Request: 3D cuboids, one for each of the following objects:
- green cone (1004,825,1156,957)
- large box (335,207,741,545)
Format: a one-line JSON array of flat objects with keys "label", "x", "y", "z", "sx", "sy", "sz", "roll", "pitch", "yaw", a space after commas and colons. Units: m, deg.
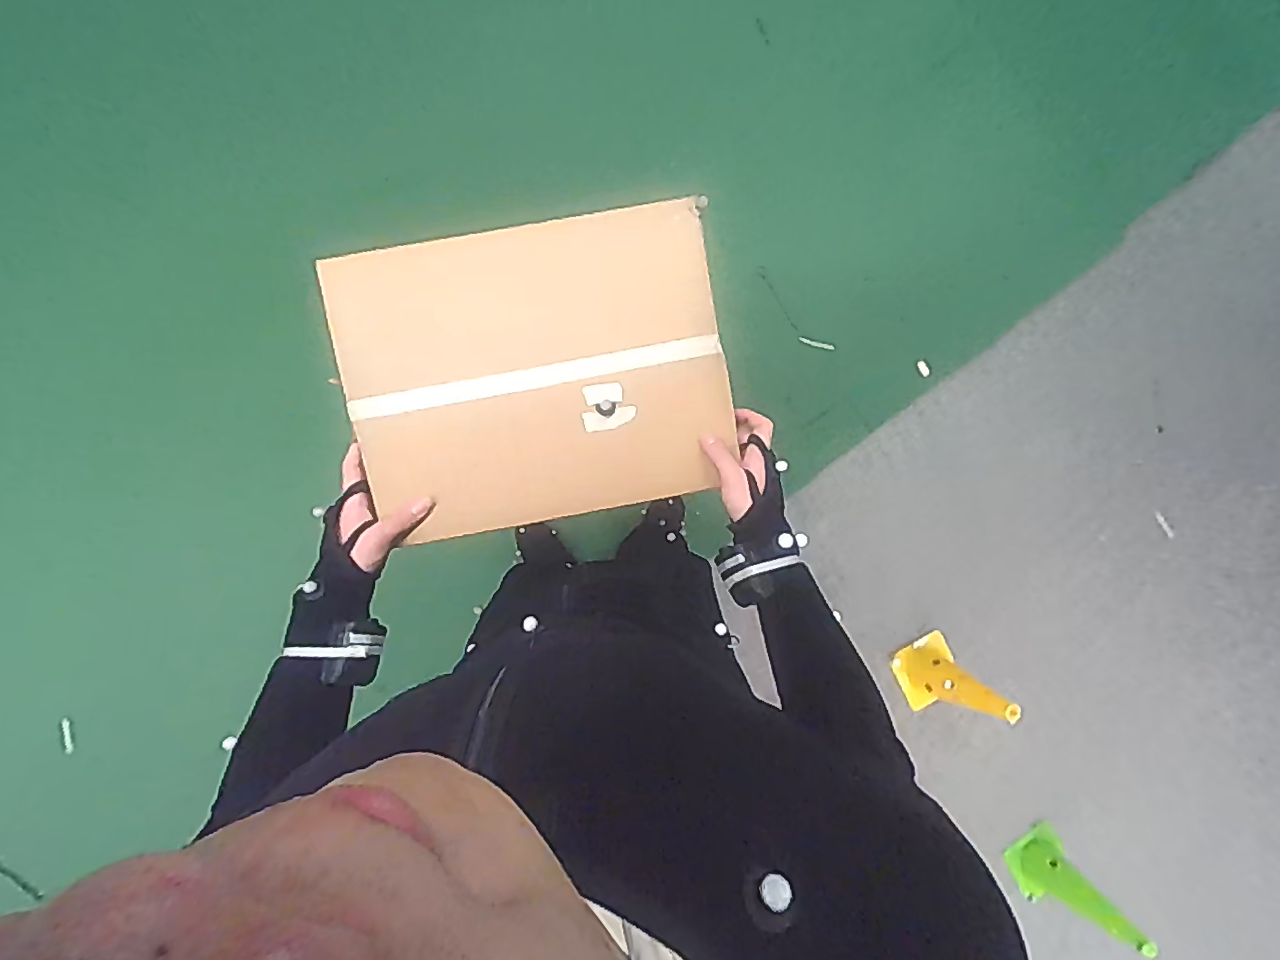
[{"label": "green cone", "x": 1.335, "y": 1.257, "z": 1.608, "sx": 0.200, "sy": 0.368, "sz": 0.202, "roll": -30, "pitch": 91, "yaw": -8}, {"label": "large box", "x": -0.115, "y": -0.124, "z": 0.742, "sx": 0.408, "sy": 0.320, "sz": 0.320, "roll": -10, "pitch": 96, "yaw": -3}]
